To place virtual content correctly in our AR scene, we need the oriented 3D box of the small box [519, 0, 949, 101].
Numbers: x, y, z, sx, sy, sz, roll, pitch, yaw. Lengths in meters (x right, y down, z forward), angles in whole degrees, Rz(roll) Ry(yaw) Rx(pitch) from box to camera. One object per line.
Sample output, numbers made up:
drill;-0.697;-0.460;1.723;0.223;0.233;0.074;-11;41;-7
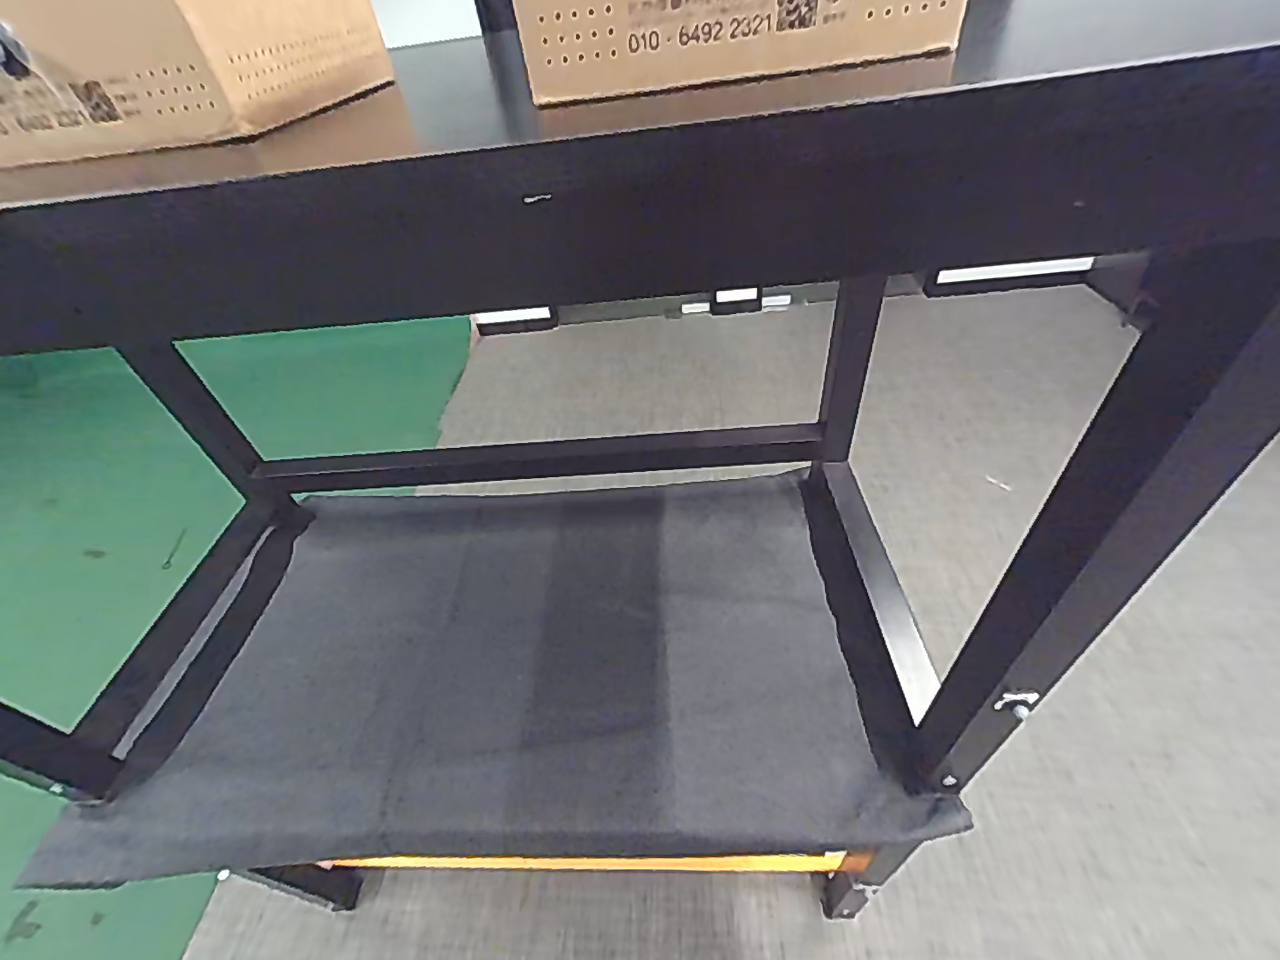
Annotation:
small box;0.032;-0.271;0.220;0.168;0.176;0.179;-3;43;6
